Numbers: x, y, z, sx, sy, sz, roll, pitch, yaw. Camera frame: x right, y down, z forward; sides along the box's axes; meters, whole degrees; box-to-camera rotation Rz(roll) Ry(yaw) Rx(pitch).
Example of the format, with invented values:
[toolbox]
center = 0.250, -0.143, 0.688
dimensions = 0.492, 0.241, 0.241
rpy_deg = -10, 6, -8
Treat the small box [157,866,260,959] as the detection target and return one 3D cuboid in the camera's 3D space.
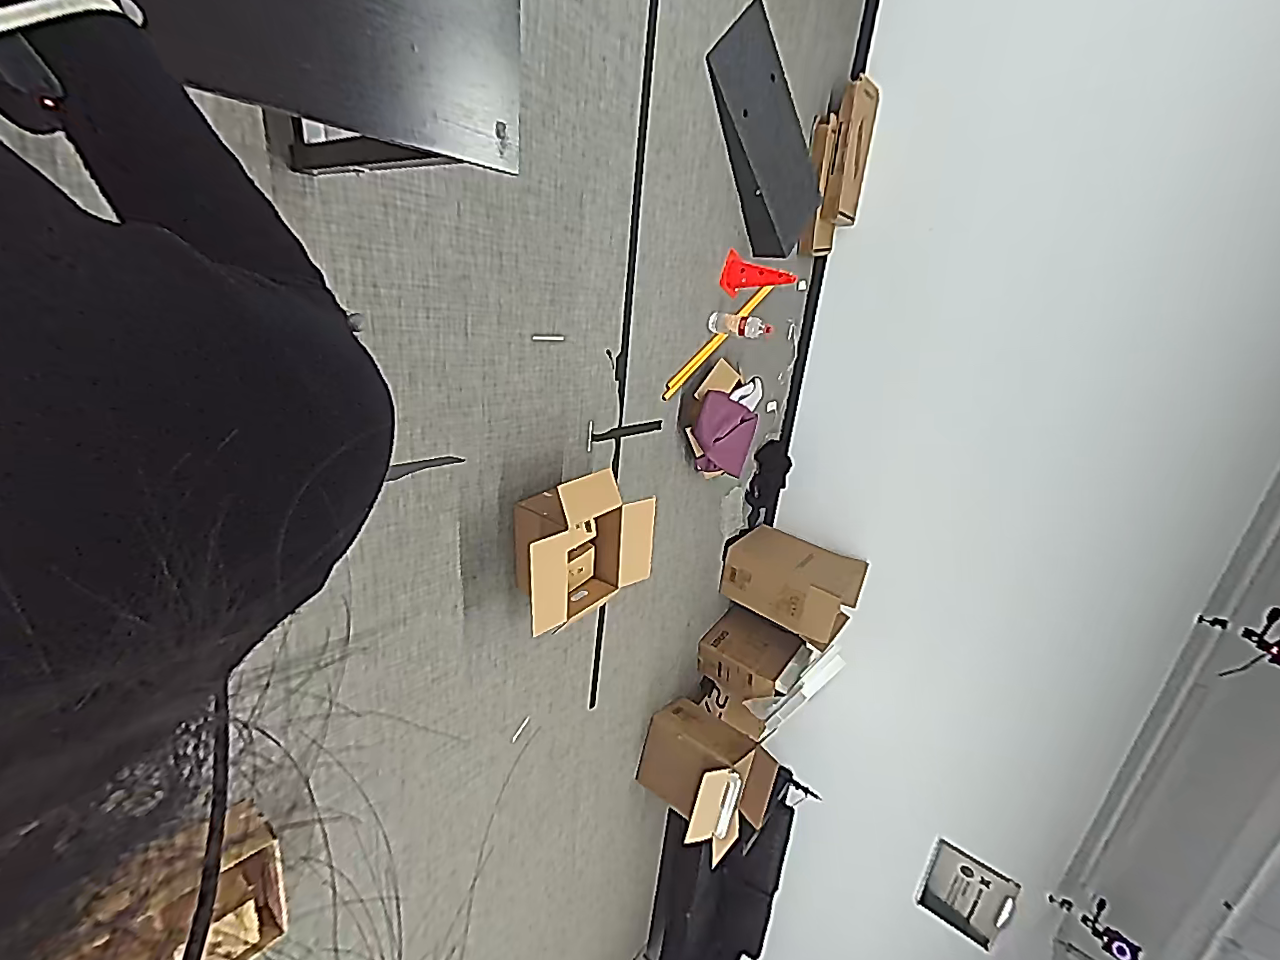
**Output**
[small box]
center = -1.169, 1.210, 1.469
dimensions = 0.179, 0.176, 0.168
rpy_deg = -14, 116, -49
